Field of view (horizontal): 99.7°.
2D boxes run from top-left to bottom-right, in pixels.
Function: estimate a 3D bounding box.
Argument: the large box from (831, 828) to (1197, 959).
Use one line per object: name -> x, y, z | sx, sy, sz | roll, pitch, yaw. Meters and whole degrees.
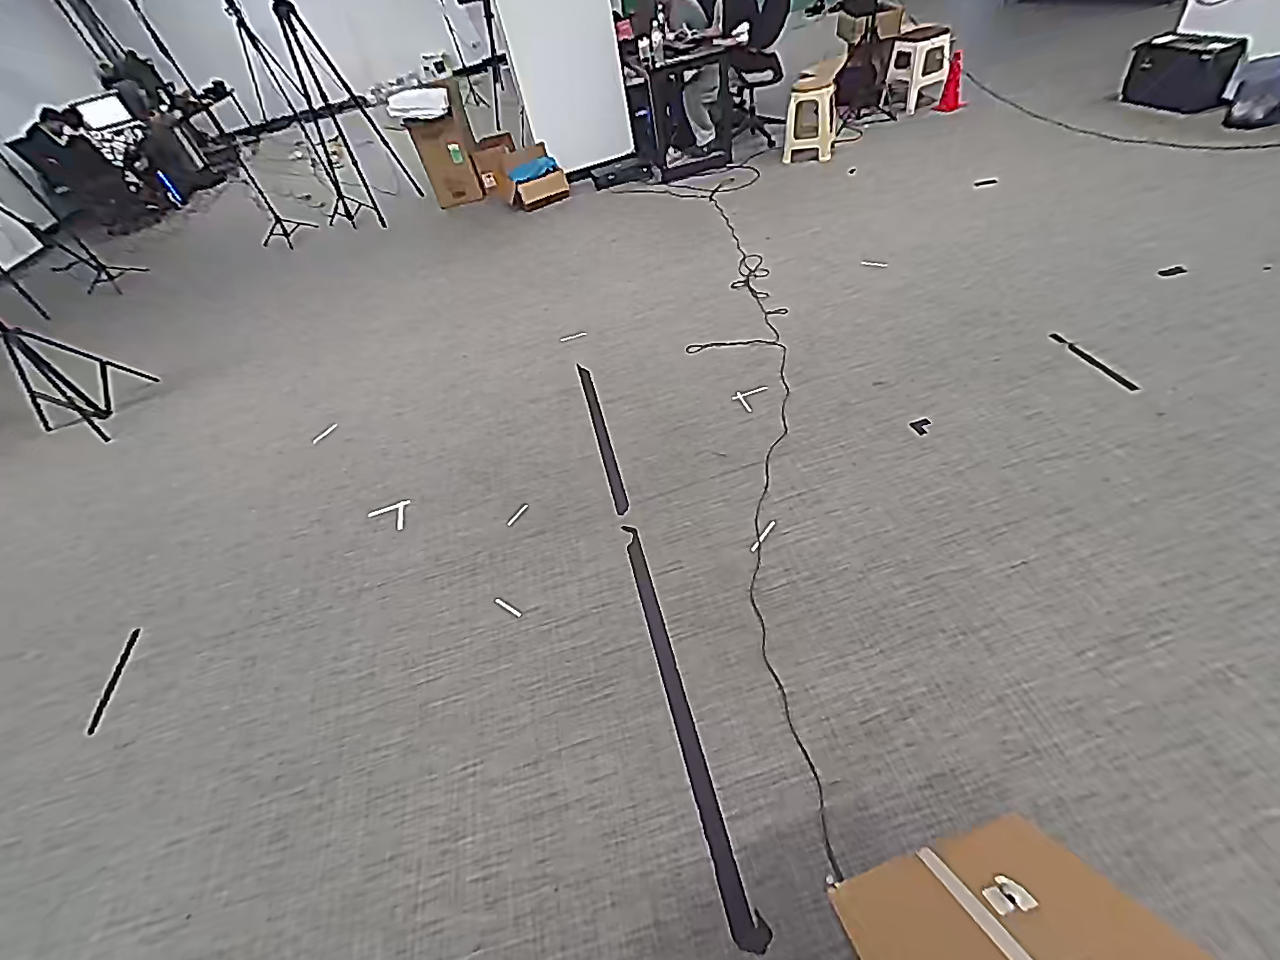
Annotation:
large box -> 0.478, 0.692, 0.599 | 0.320, 0.408, 0.320 | -18, 83, -2
